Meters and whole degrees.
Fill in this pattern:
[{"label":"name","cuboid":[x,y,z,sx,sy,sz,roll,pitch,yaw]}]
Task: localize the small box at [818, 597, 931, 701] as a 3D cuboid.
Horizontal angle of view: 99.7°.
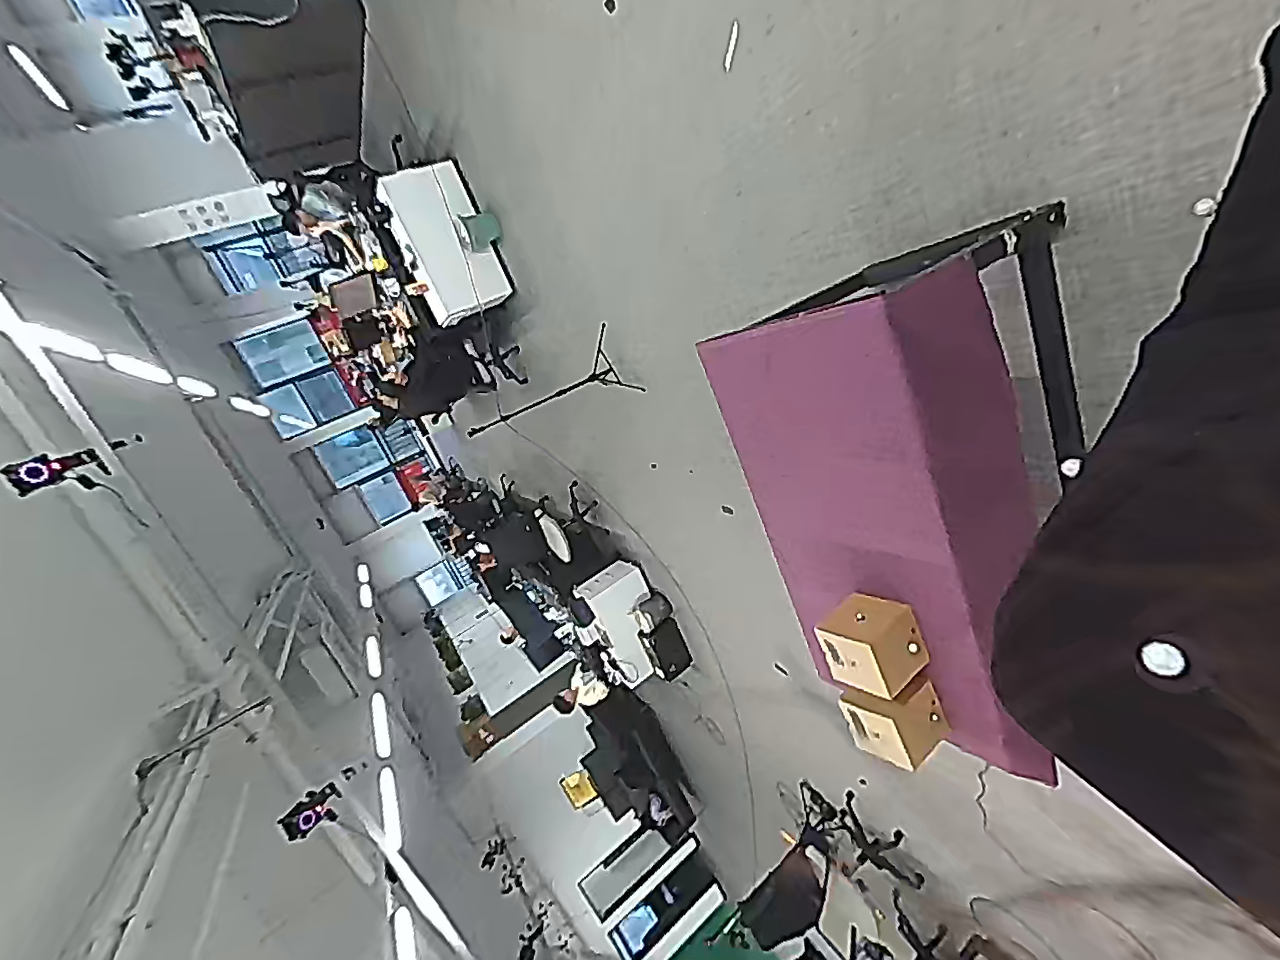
[{"label":"small box","cuboid":[0.595,0.418,1.375,0.179,0.176,0.168,0,118,63]}]
